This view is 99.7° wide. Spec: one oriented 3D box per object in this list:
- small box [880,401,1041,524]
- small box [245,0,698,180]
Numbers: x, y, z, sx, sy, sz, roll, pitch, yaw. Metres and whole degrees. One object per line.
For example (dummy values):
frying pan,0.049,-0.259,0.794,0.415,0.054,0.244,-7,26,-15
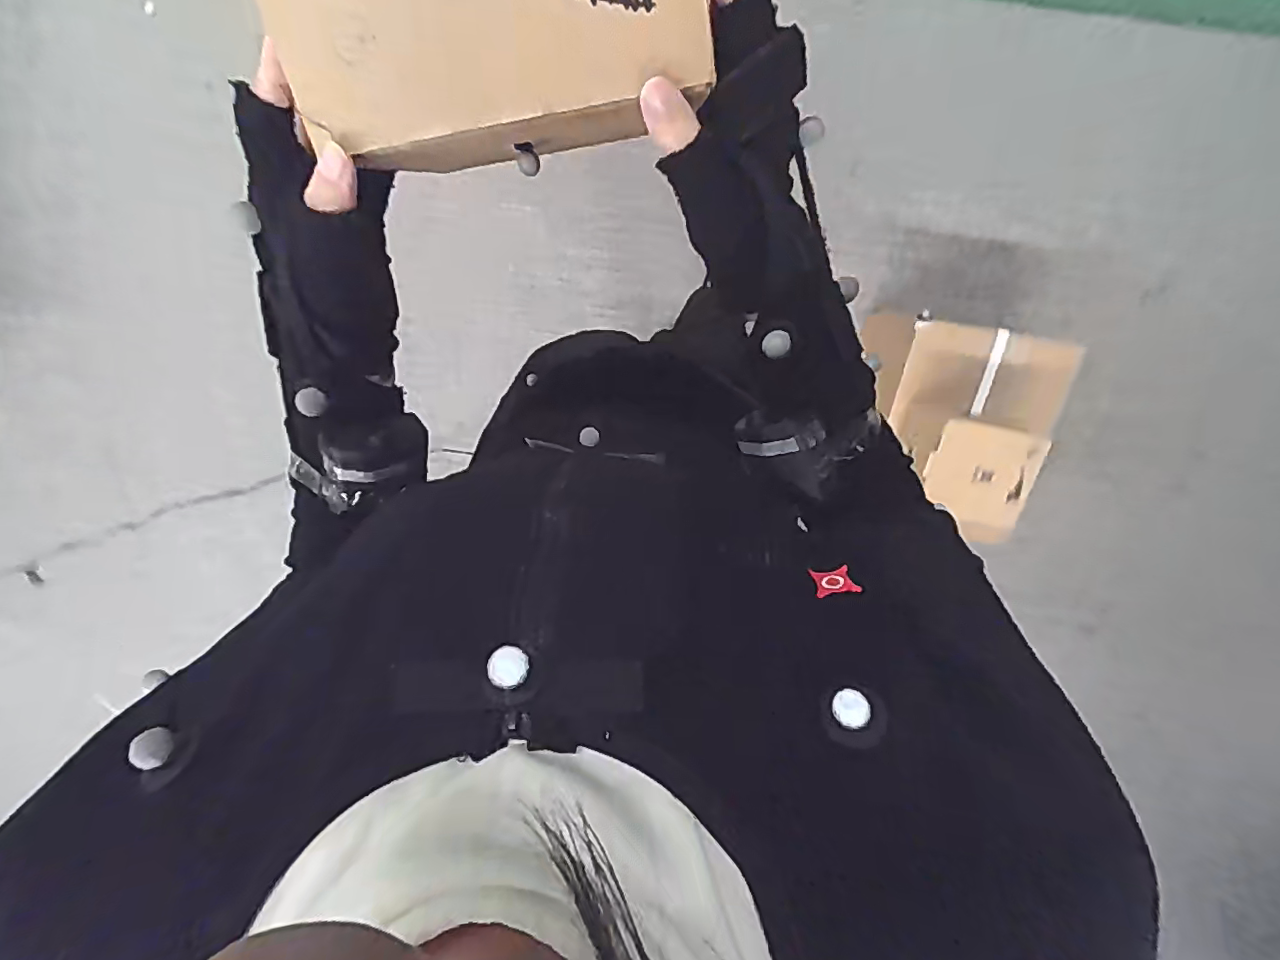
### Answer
small box,0.572,-0.042,0.996,0.179,0.176,0.168,13,110,1
small box,-0.074,-0.257,0.267,0.179,0.176,0.168,-9,118,5
